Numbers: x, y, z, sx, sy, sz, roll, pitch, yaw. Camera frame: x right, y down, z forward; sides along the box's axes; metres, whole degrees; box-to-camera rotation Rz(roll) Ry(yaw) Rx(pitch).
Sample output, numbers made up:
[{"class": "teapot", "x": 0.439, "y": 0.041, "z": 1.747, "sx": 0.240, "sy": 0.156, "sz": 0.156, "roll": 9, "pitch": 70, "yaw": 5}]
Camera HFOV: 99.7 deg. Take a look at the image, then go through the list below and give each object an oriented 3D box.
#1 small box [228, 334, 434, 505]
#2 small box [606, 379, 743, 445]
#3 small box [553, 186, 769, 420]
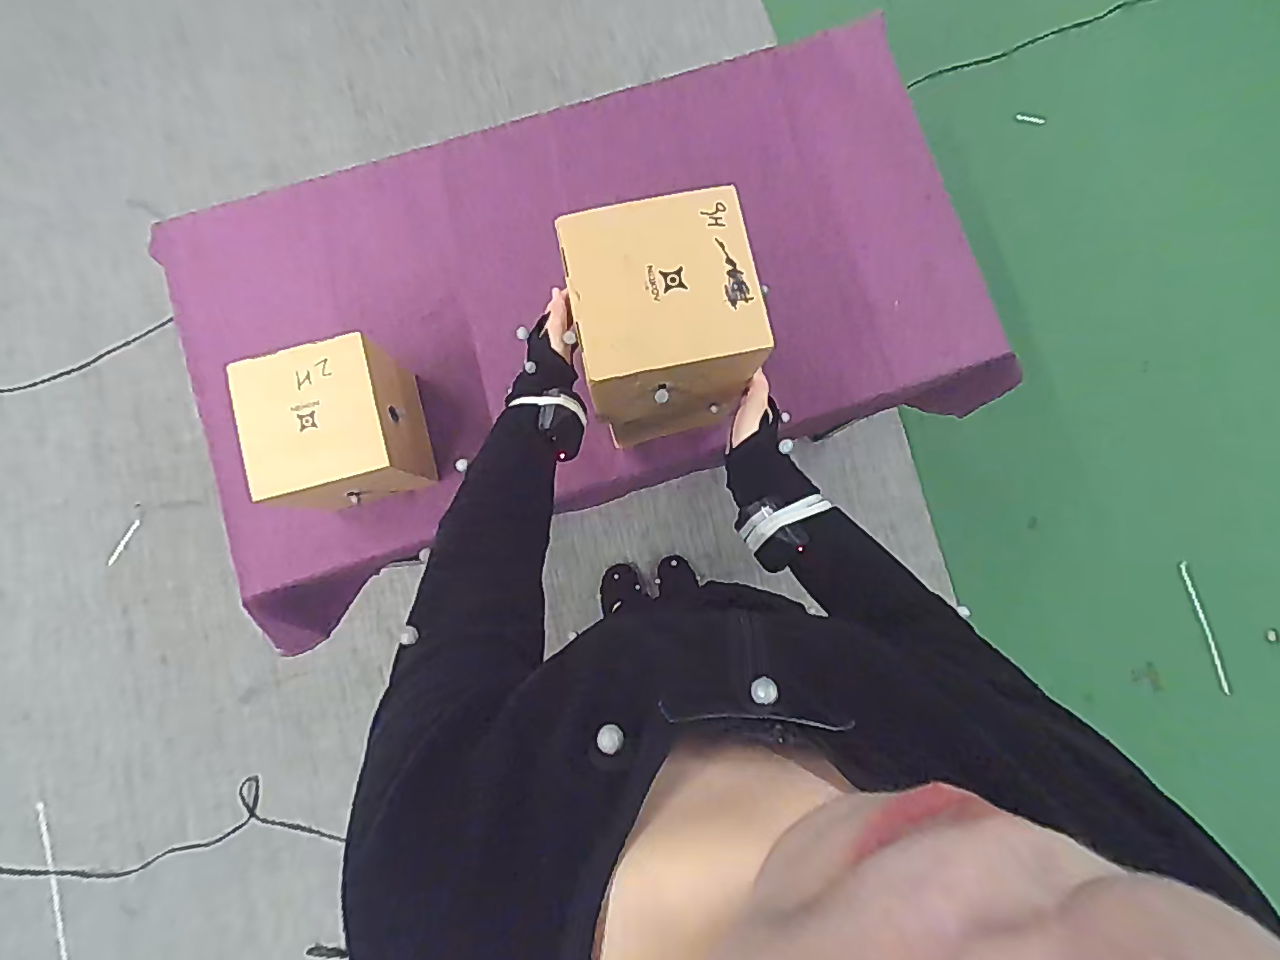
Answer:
[{"class": "small box", "x": -0.396, "y": -0.067, "z": 0.721, "sx": 0.168, "sy": 0.176, "sz": 0.179, "roll": -15, "pitch": 84, "yaw": -3}, {"class": "small box", "x": 0.022, "y": -0.157, "z": 0.738, "sx": 0.179, "sy": 0.176, "sz": 0.168, "roll": -16, "pitch": 83, "yaw": -3}, {"class": "small box", "x": 0.018, "y": -0.171, "z": 0.573, "sx": 0.179, "sy": 0.176, "sz": 0.168, "roll": -11, "pitch": 83, "yaw": -2}]
